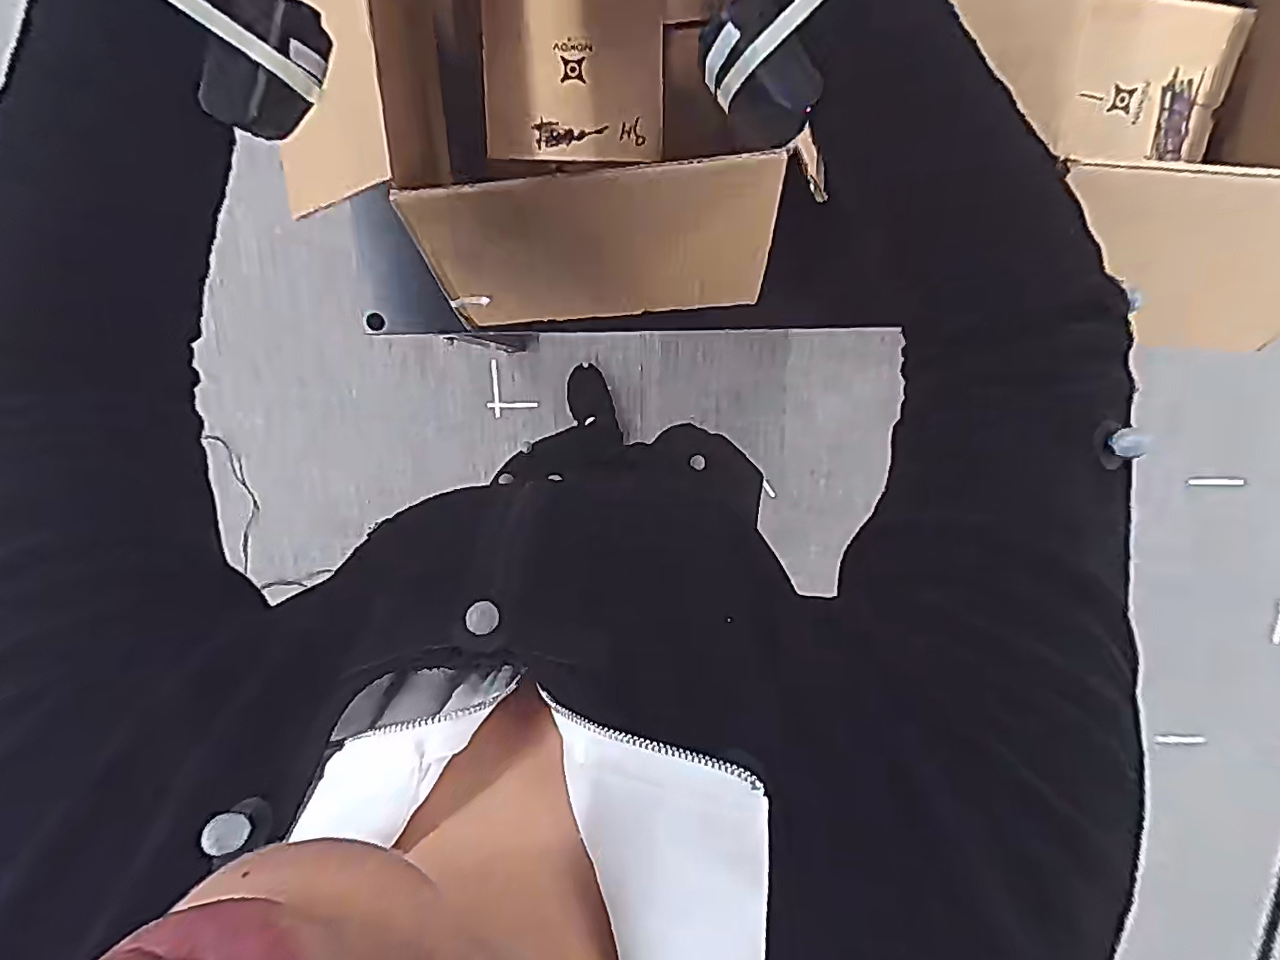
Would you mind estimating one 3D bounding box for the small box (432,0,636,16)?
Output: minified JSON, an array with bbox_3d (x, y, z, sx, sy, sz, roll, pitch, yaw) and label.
[{"bbox_3d":[-0.069,-0.413,0.320,0.179,0.176,0.168,-3,110,-4],"label":"small box"}]
